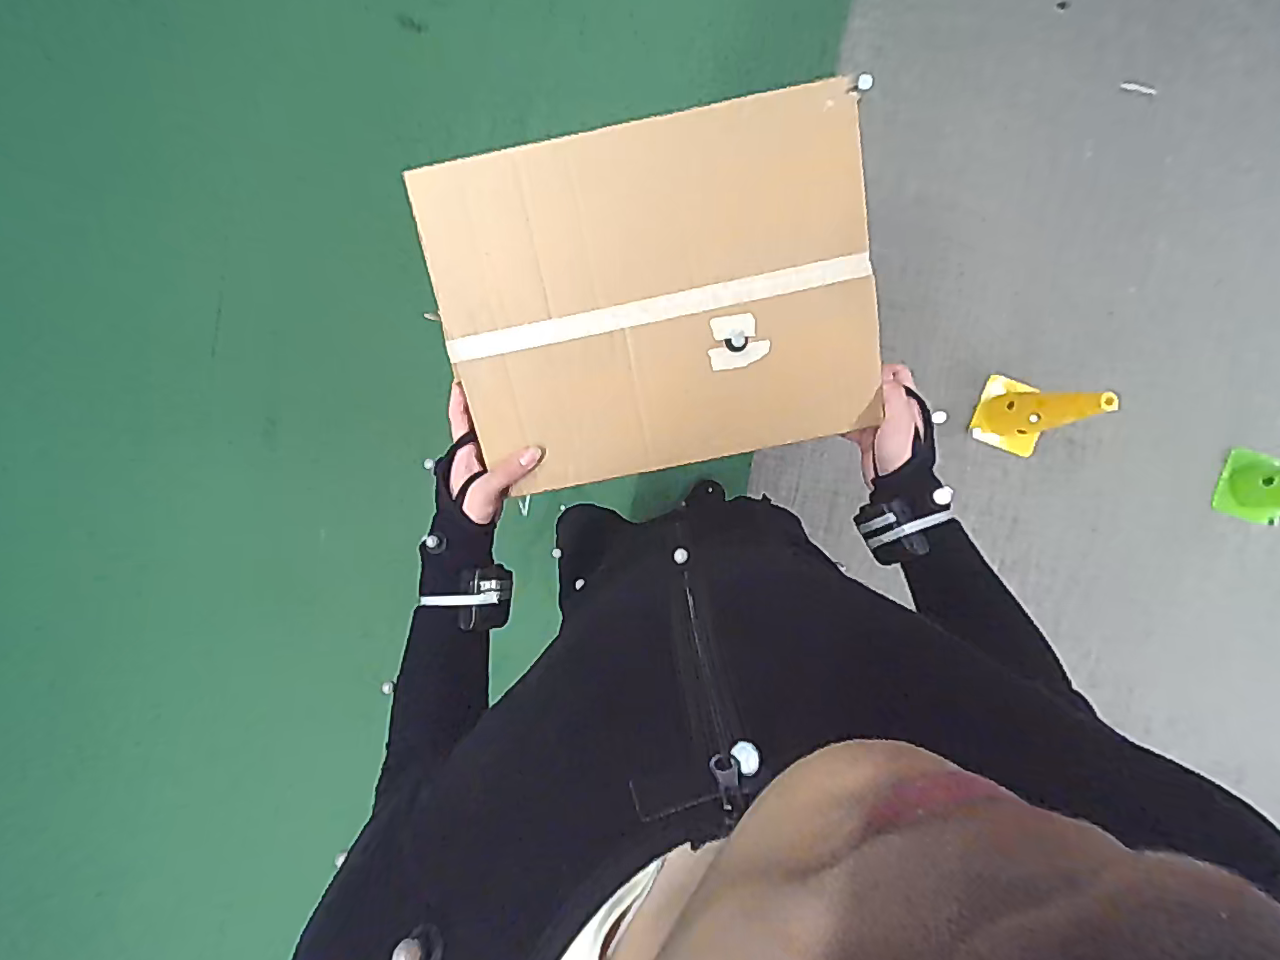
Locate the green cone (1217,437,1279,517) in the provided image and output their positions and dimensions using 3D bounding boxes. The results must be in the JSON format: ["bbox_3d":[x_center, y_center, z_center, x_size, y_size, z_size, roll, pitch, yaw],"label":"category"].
[{"bbox_3d":[1.820,-0.007,1.424,0.202,0.368,0.200,17,92,2],"label":"green cone"}]

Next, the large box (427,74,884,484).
[{"bbox_3d":[0.023,-0.214,0.664,0.408,0.320,0.320,-11,106,1],"label":"large box"}]
